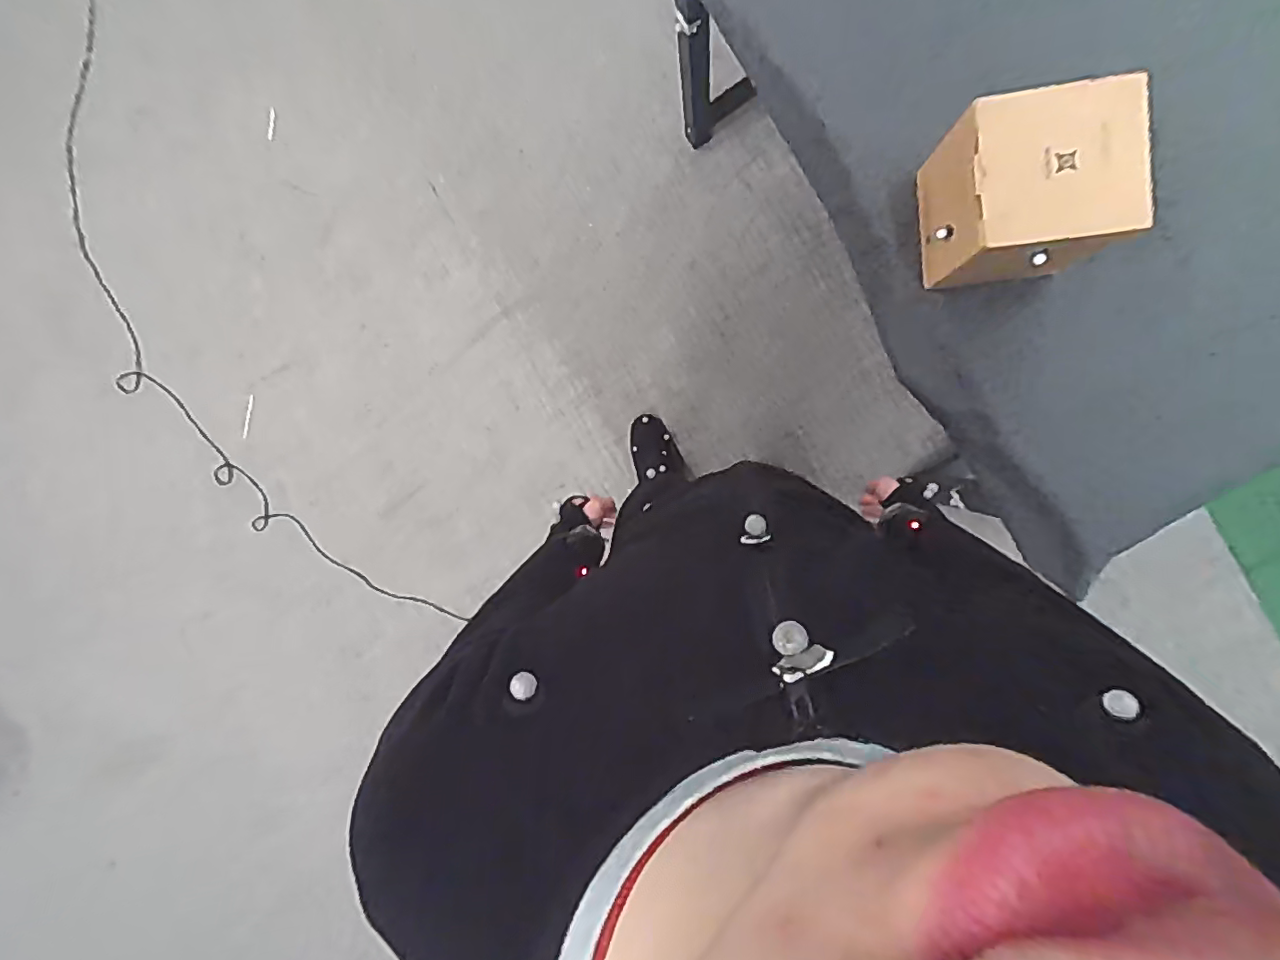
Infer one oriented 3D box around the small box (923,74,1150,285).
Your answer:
[{"bbox_3d":[0.471,-0.353,0.673,0.179,0.176,0.168,-5,94,6],"label":"small box"}]
